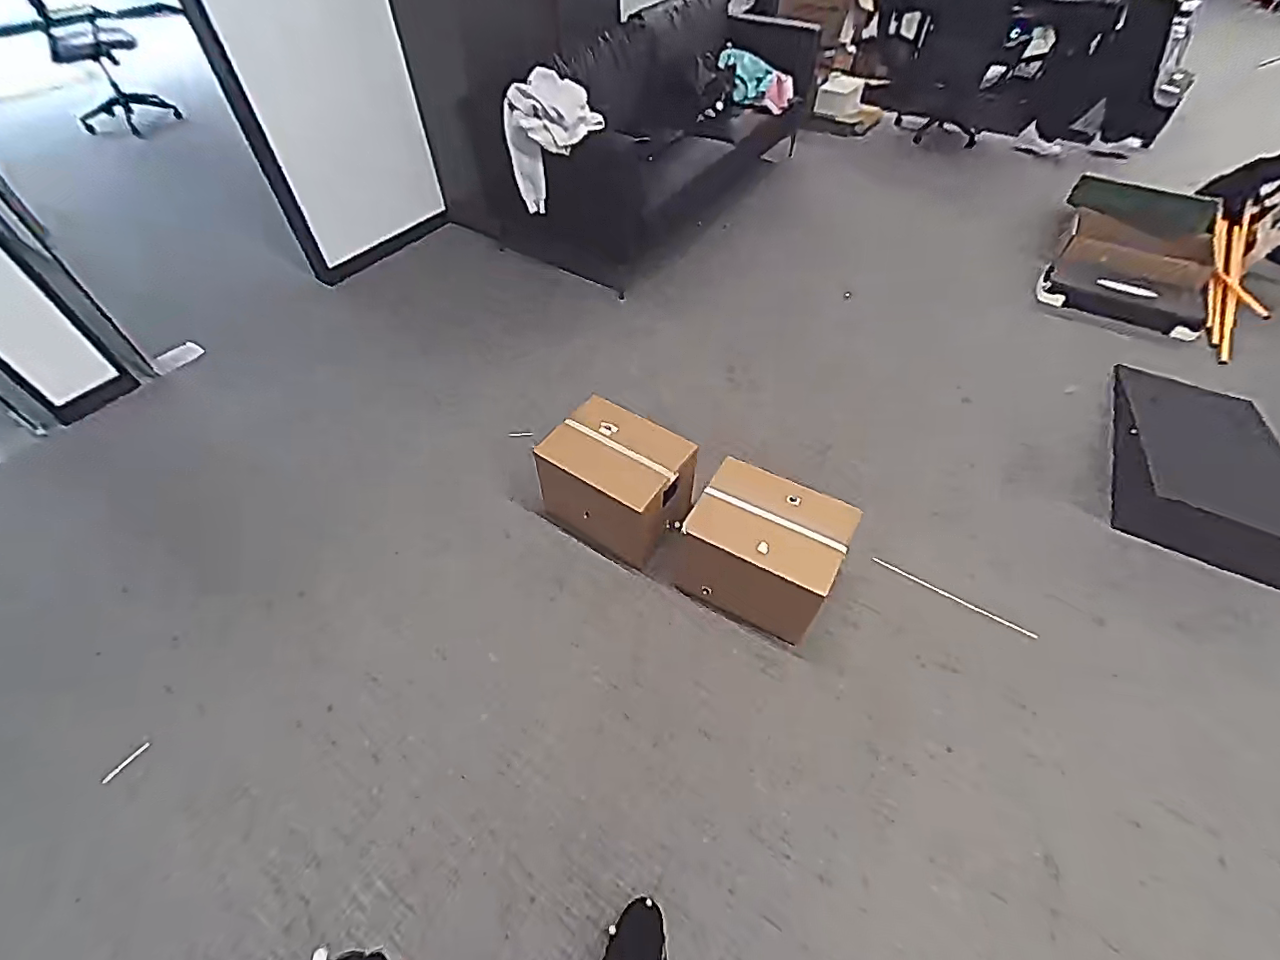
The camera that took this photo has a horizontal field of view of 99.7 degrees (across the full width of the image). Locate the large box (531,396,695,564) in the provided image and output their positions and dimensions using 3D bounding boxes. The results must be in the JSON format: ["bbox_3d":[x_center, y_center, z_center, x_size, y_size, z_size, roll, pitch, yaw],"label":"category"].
[{"bbox_3d":[-0.075,-0.003,1.735,0.408,0.320,0.320,28,55,22],"label":"large box"}]
